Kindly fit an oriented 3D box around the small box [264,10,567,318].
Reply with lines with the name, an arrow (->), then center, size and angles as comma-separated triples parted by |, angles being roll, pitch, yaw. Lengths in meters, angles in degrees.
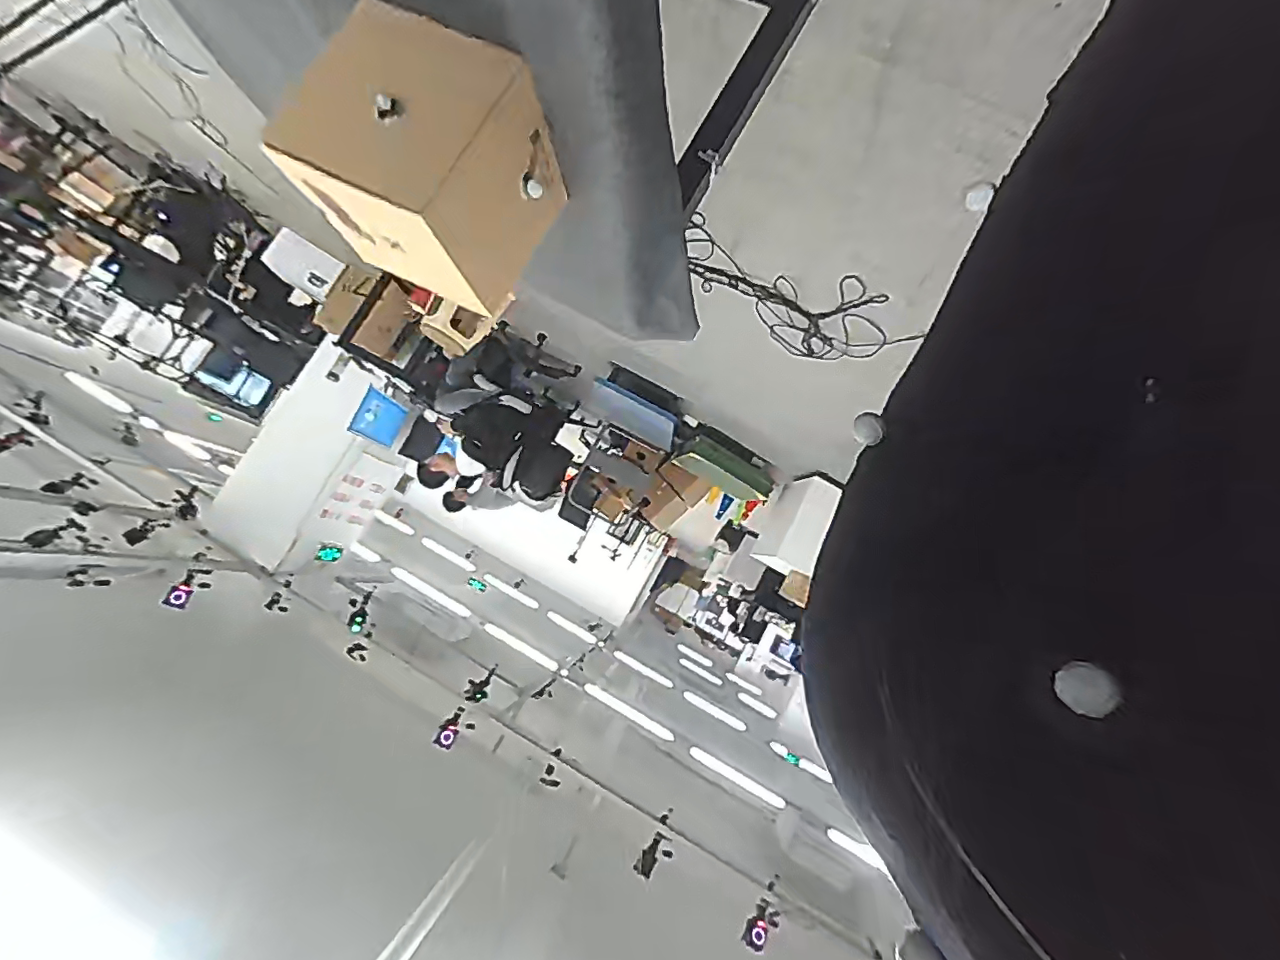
small box -> -0.198, -0.299, 0.527 | 0.179, 0.176, 0.168 | 27, 172, 10
